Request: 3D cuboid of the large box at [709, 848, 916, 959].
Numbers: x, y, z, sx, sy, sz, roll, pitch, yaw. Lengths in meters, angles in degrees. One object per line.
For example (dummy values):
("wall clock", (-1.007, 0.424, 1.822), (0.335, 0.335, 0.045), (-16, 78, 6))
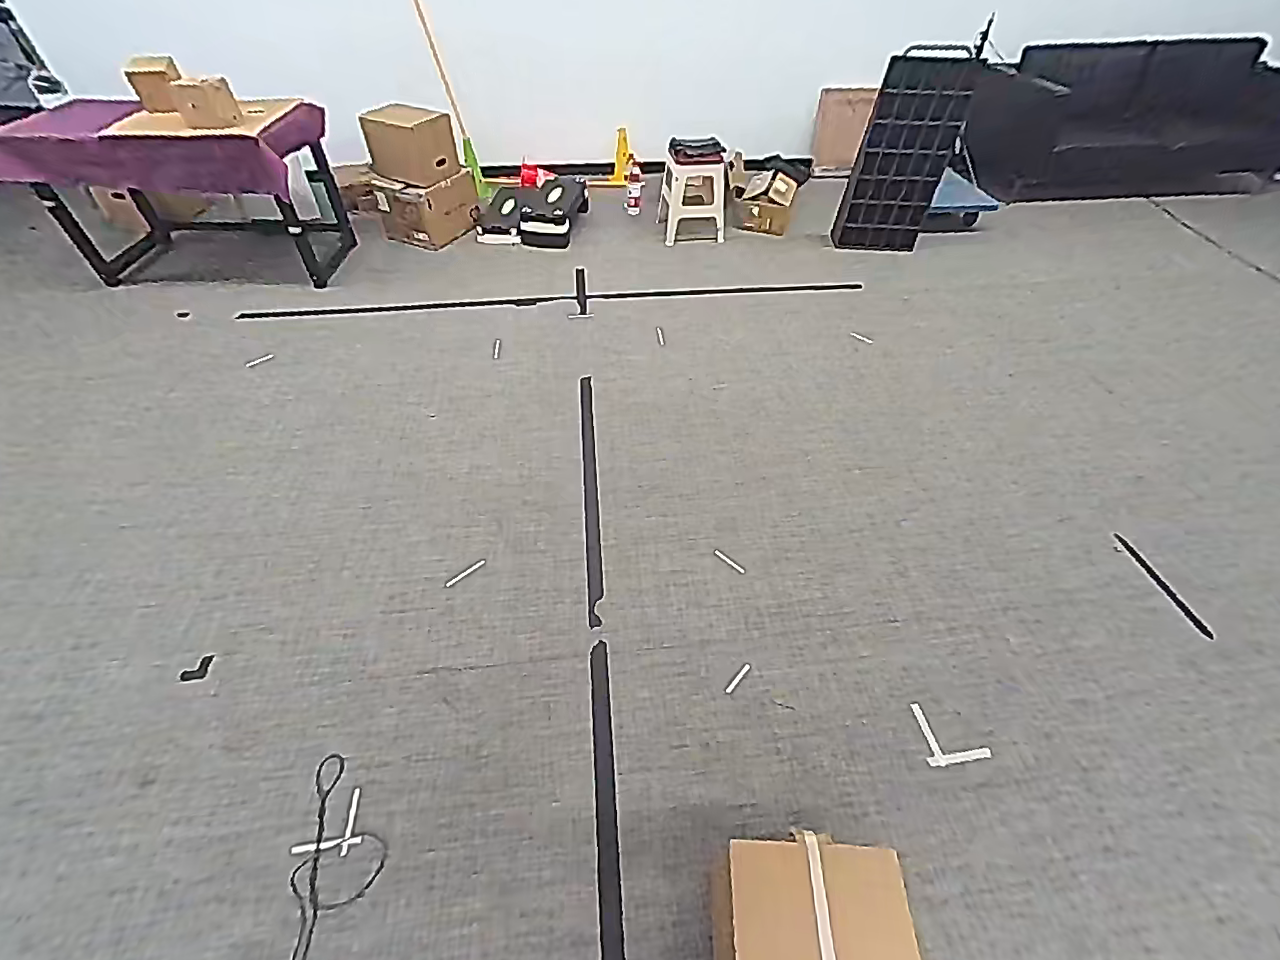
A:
("large box", (0.308, 0.942, 0.994), (0.320, 0.320, 0.408), (3, 48, 1))
